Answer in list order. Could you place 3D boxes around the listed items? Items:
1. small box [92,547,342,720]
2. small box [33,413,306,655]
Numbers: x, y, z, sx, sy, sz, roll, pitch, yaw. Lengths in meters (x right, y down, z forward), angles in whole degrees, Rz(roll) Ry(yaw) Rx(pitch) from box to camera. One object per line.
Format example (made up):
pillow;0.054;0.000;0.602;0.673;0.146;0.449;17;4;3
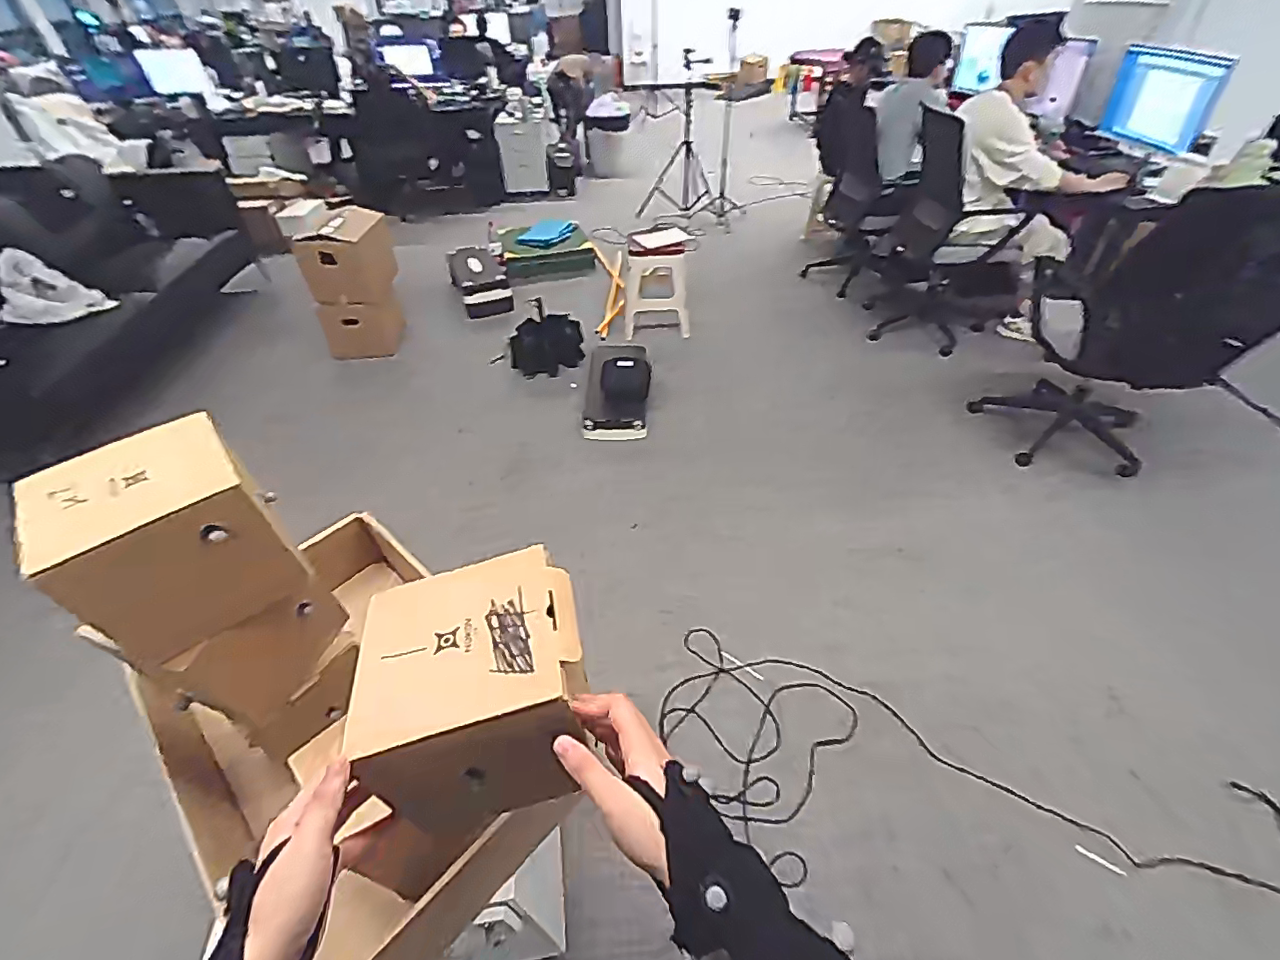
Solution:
small box;-0.537;0.187;0.724;0.168;0.176;0.179;11;48;14
small box;-0.517;0.059;0.618;0.179;0.176;0.168;-33;52;-27
